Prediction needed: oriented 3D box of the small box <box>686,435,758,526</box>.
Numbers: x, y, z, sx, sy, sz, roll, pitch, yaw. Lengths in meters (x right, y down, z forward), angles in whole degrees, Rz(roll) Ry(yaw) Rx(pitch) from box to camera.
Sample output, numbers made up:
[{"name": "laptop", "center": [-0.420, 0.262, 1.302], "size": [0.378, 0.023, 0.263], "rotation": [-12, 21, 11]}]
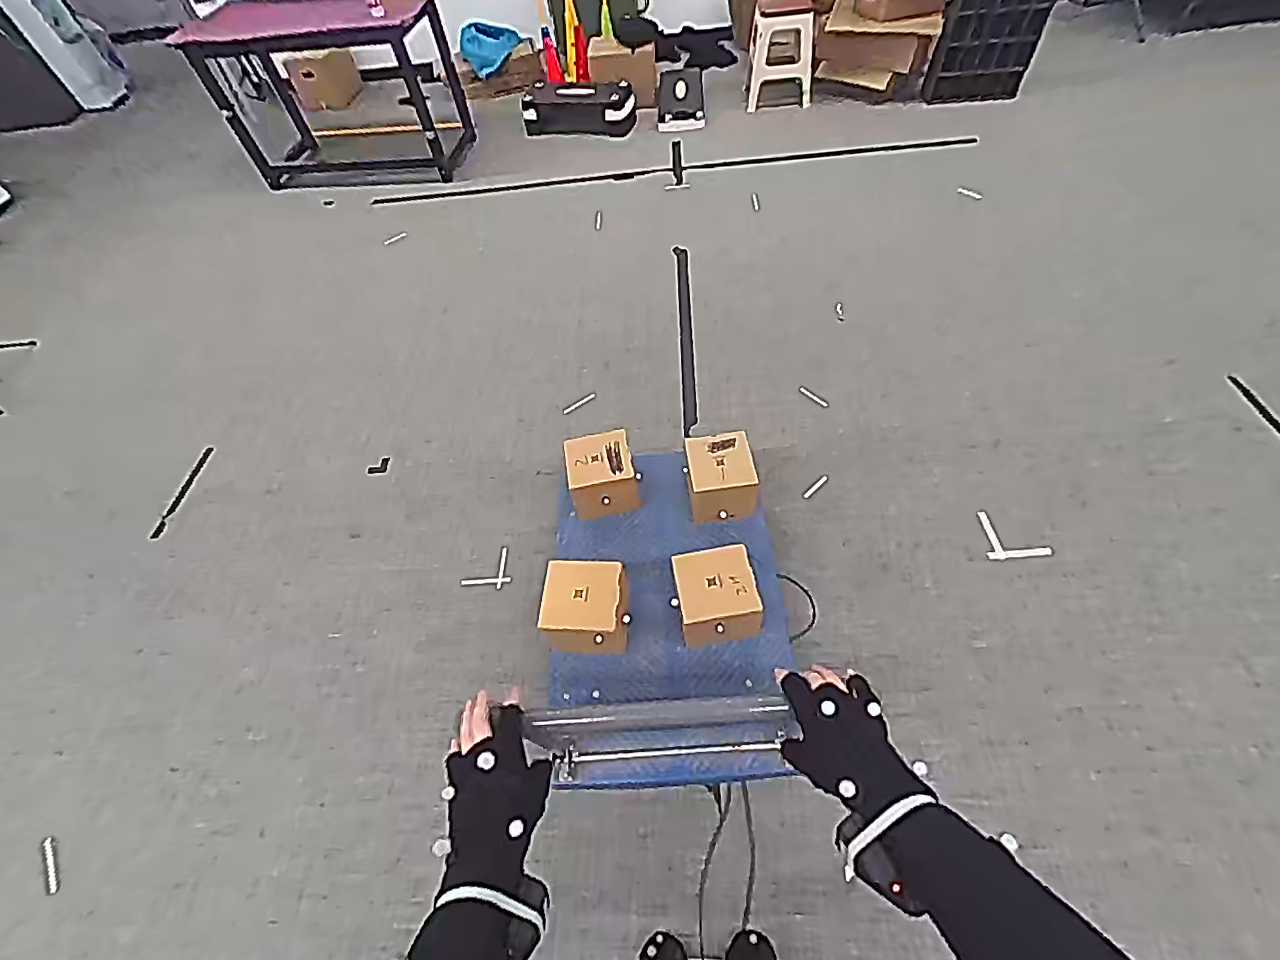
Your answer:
[{"name": "small box", "center": [0.216, 0.003, 1.468], "size": [0.168, 0.176, 0.179], "rotation": [-8, 55, 1]}]

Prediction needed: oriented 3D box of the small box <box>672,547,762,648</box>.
[{"name": "small box", "center": [0.178, 0.282, 1.276], "size": [0.179, 0.176, 0.168], "rotation": [-10, 55, 0]}]

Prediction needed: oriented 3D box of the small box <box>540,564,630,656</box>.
[{"name": "small box", "center": [-0.124, 0.312, 1.293], "size": [0.179, 0.176, 0.168], "rotation": [0, 55, 5]}]
